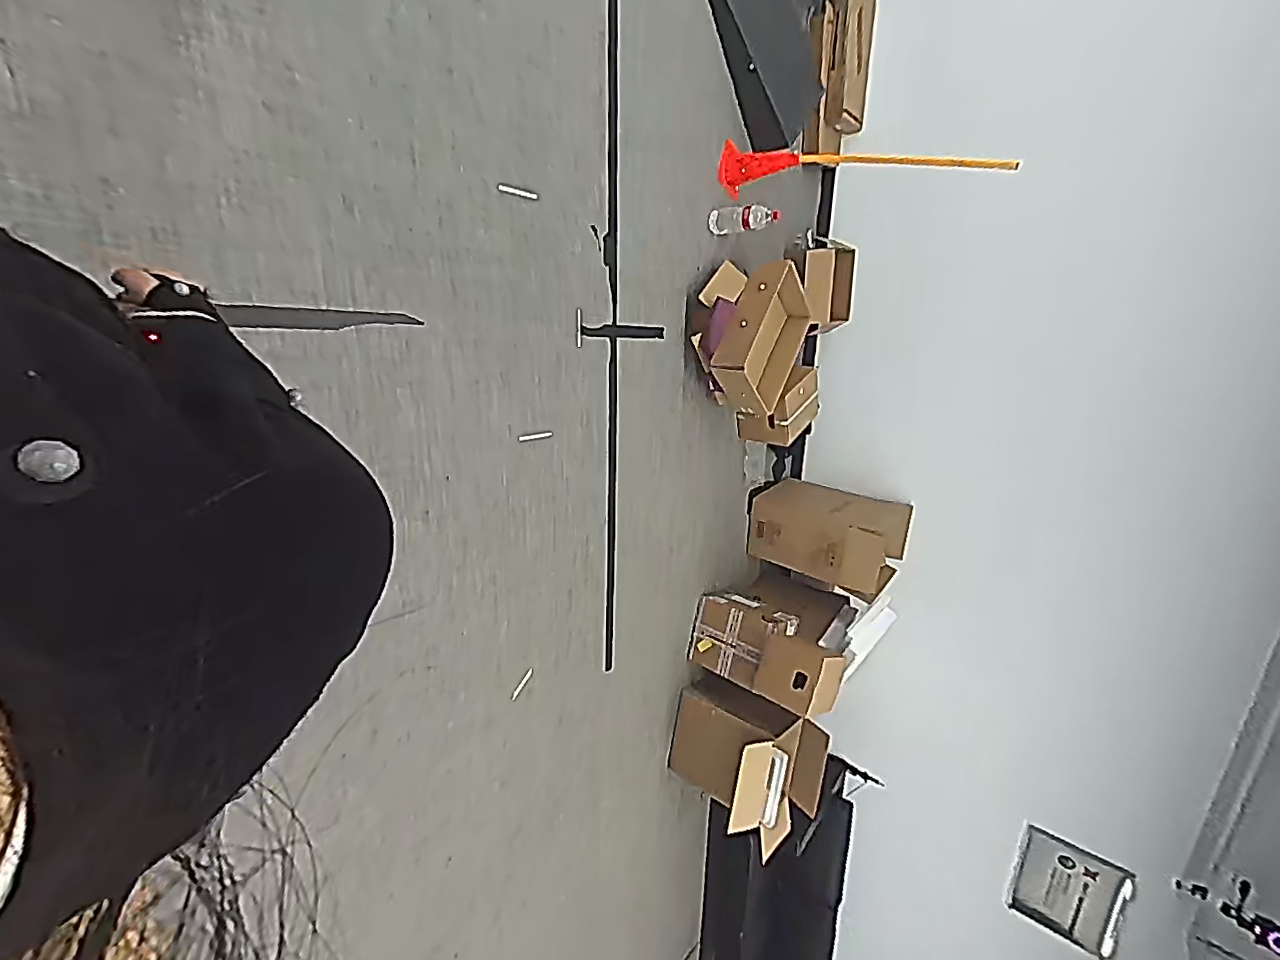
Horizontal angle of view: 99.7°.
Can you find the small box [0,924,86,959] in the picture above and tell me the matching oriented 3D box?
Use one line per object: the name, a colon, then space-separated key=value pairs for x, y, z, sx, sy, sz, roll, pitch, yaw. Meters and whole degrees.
small box: x=-1.258 y=1.076 z=1.112 sx=0.168 sy=0.176 sz=0.179 roll=-20 pitch=117 yaw=-47
